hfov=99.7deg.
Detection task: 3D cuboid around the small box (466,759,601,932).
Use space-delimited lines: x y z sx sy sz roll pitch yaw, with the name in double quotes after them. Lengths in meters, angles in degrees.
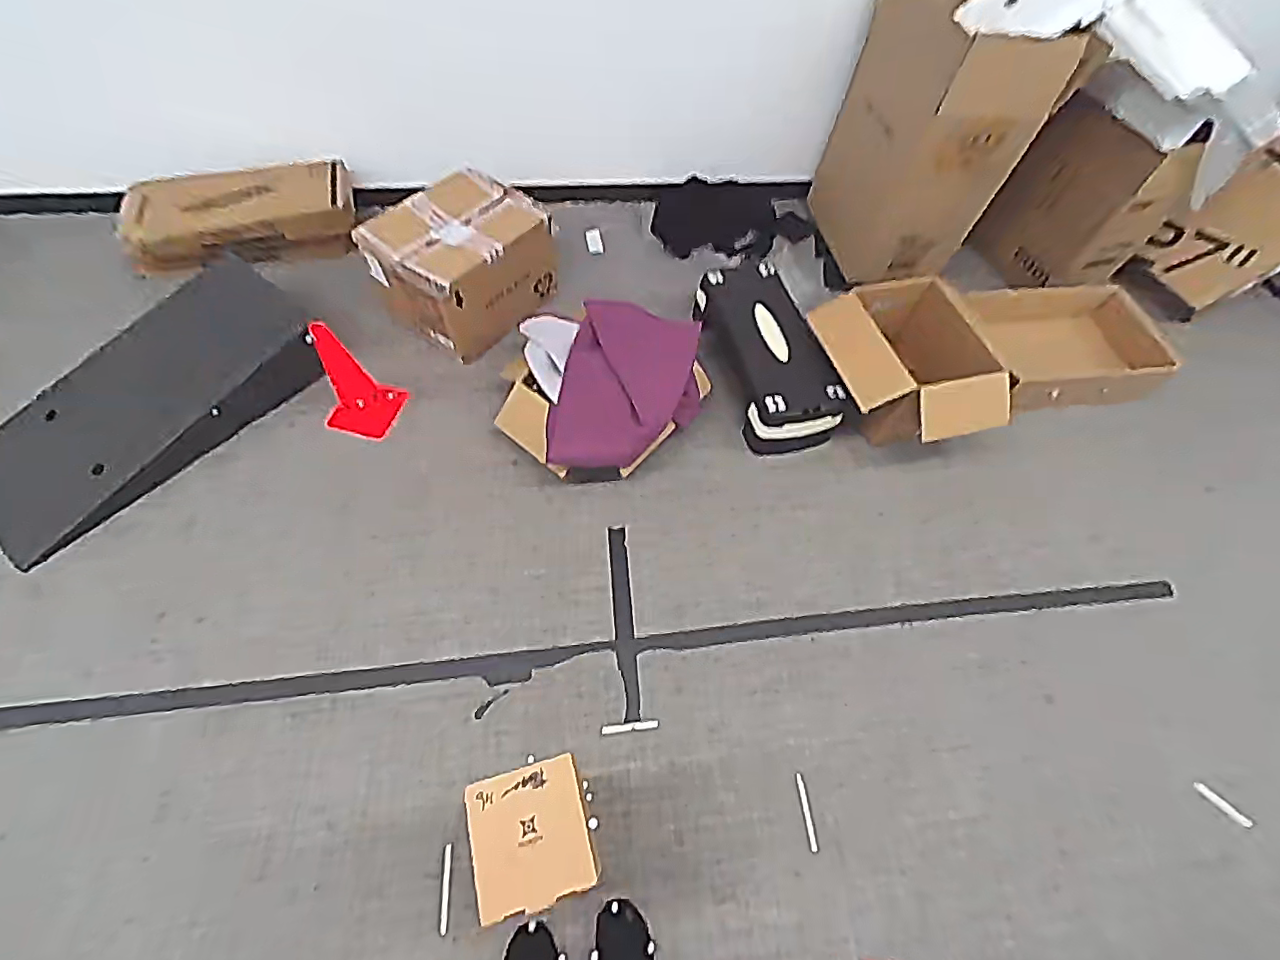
-0.161 0.556 0.846 0.168 0.176 0.179 -14 61 -10 "small box"
